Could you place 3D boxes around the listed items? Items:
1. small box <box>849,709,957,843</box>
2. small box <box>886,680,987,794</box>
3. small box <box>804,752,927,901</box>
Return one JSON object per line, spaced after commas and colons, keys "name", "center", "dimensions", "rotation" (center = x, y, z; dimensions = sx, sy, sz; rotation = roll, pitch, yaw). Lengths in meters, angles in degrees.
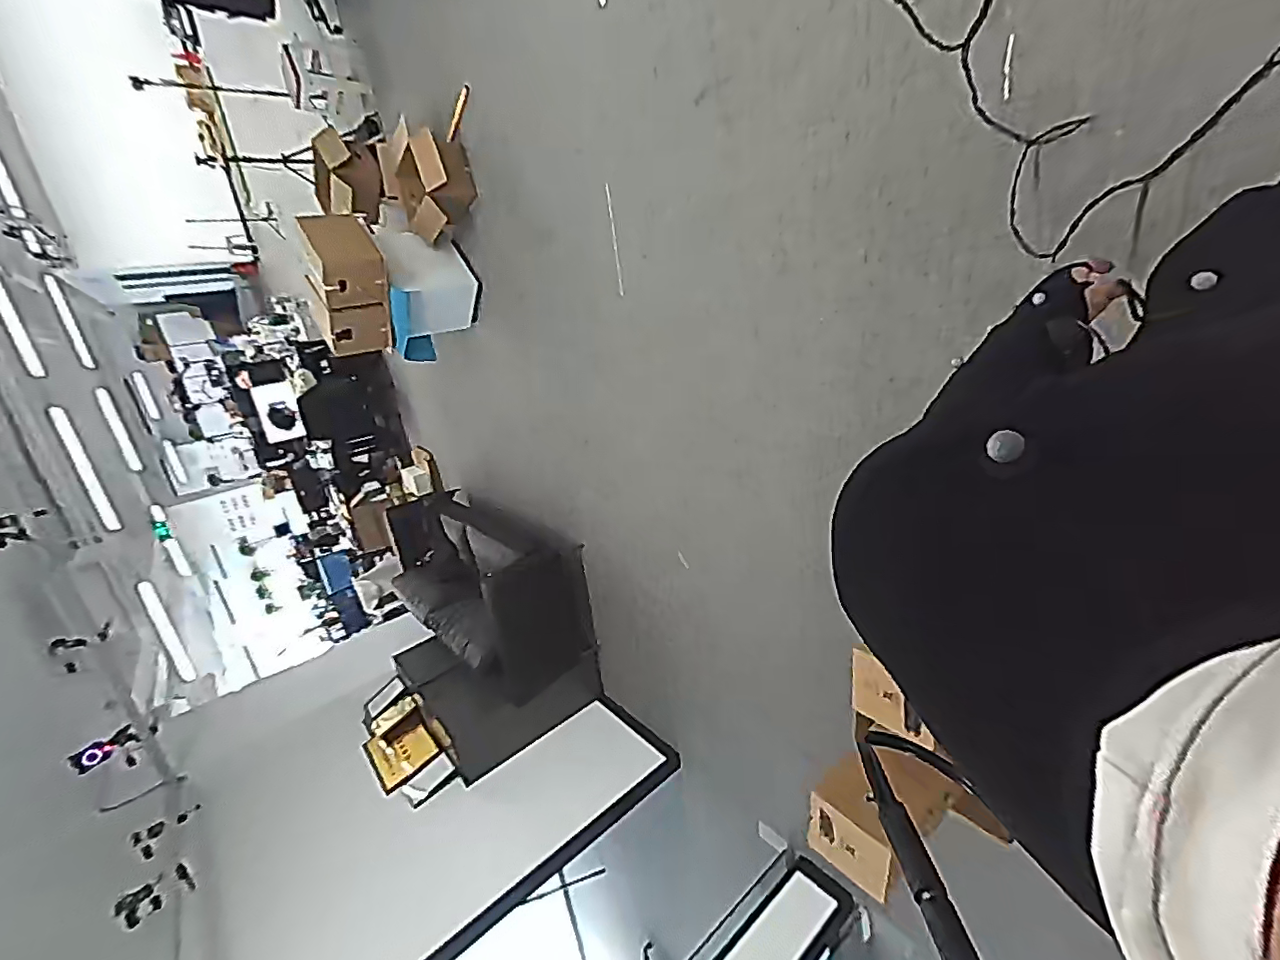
{"name": "small box", "center": [0.597, 0.664, 1.239], "dimensions": [0.179, 0.176, 0.168], "rotation": [21, 122, 44]}
{"name": "small box", "center": [0.721, 0.613, 1.332], "dimensions": [0.179, 0.176, 0.168], "rotation": [23, 125, 45]}
{"name": "small box", "center": [0.472, 0.714, 1.142], "dimensions": [0.179, 0.176, 0.168], "rotation": [20, 122, 45]}
